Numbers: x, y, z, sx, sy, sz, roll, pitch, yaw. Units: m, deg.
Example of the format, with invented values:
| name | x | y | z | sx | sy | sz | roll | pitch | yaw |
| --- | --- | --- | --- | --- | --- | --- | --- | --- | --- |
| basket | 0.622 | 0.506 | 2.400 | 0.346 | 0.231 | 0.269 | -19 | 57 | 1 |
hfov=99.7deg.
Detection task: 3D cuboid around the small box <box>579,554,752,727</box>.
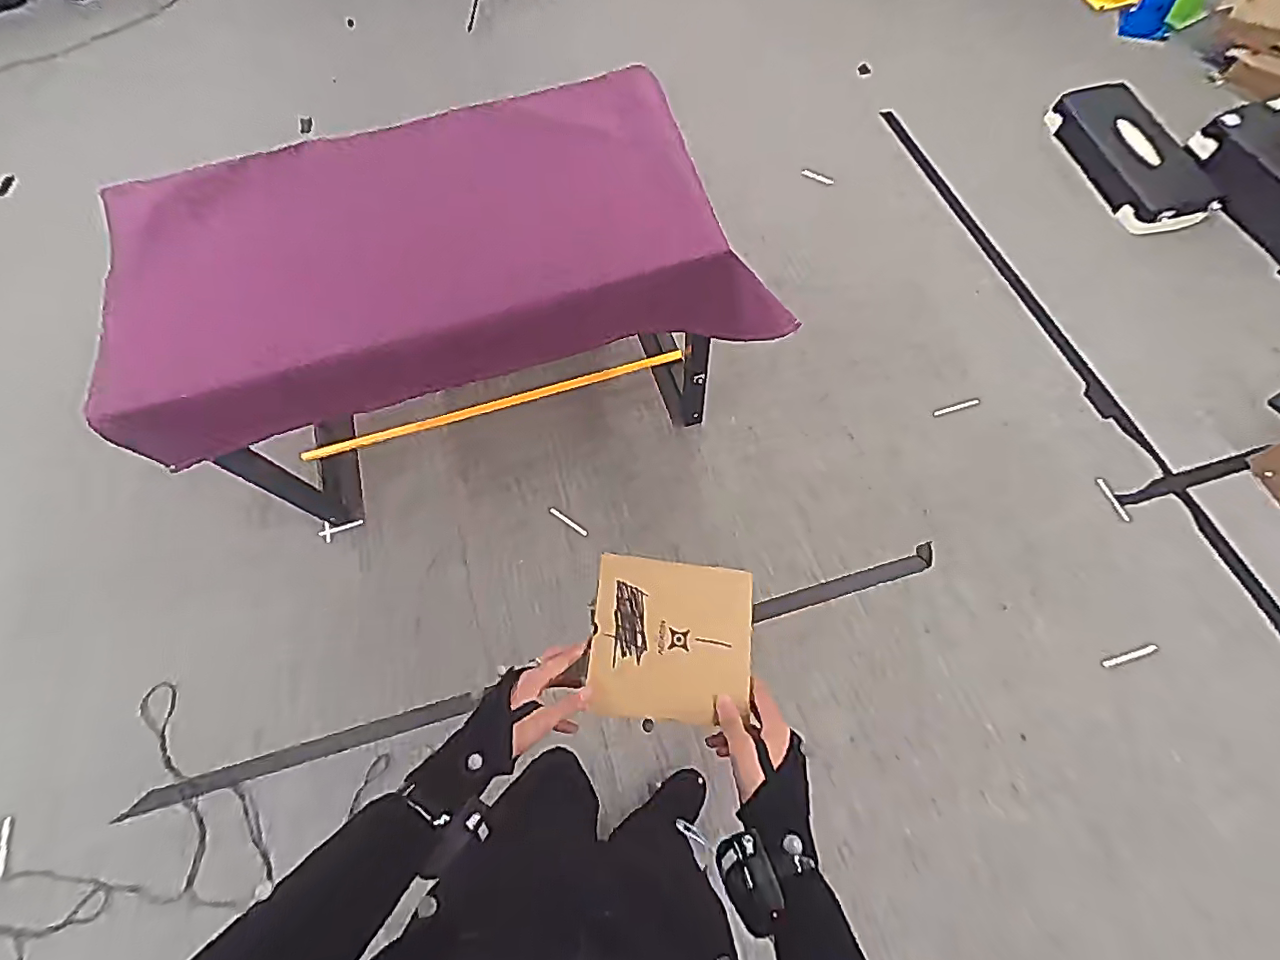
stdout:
| name | x | y | z | sx | sy | sz | roll | pitch | yaw |
| --- | --- | --- | --- | --- | --- | --- | --- | --- | --- |
| small box | 0.027 | 0.198 | 0.650 | 0.179 | 0.176 | 0.168 | 7 | 67 | -2 |
